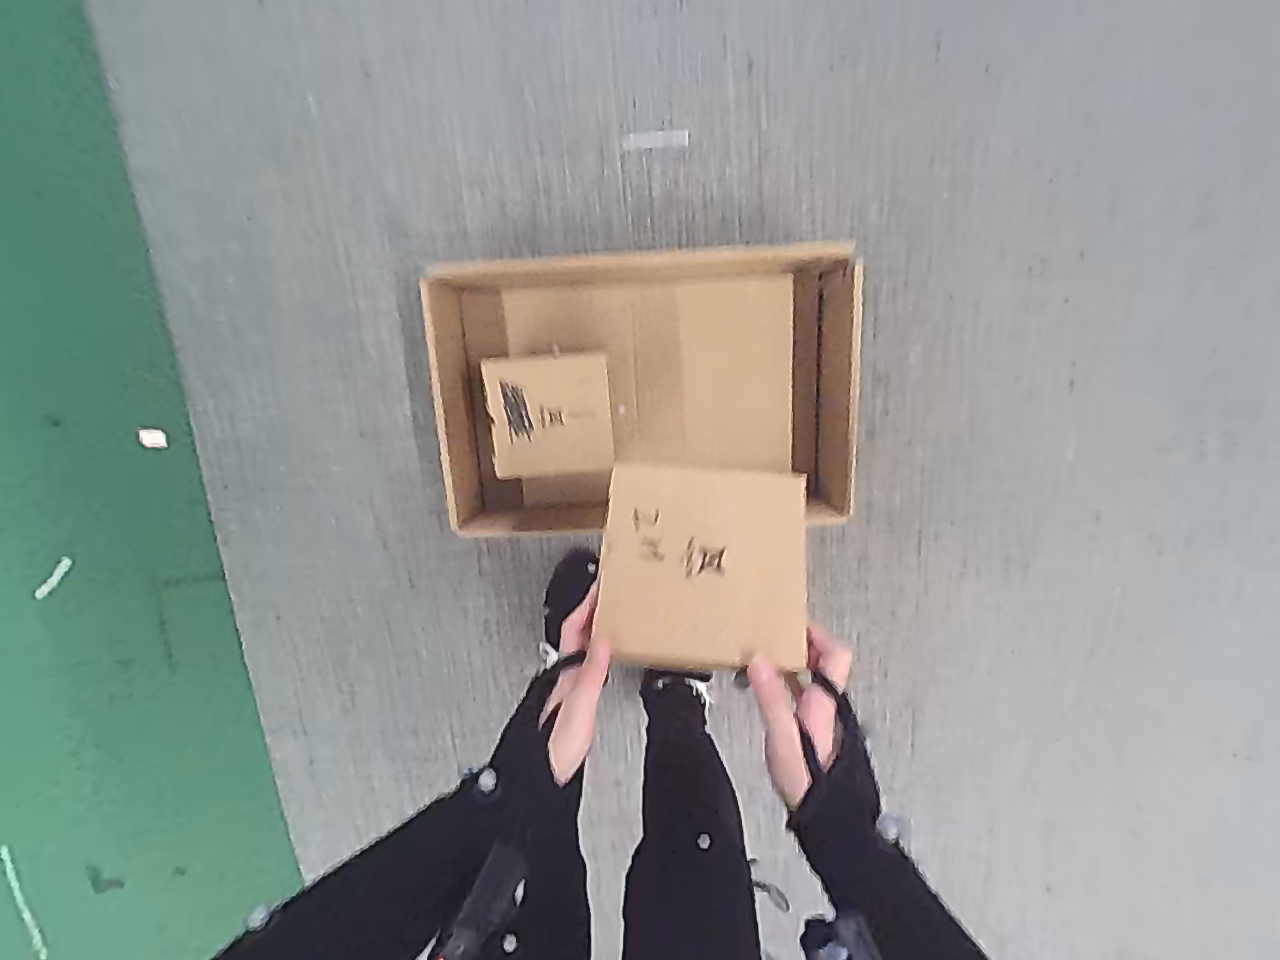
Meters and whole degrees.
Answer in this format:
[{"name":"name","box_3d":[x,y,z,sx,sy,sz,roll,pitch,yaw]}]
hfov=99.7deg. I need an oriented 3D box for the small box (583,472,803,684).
[{"name":"small box","box_3d":[0.053,0.104,0.528,0.179,0.176,0.168,3,67,6]}]
